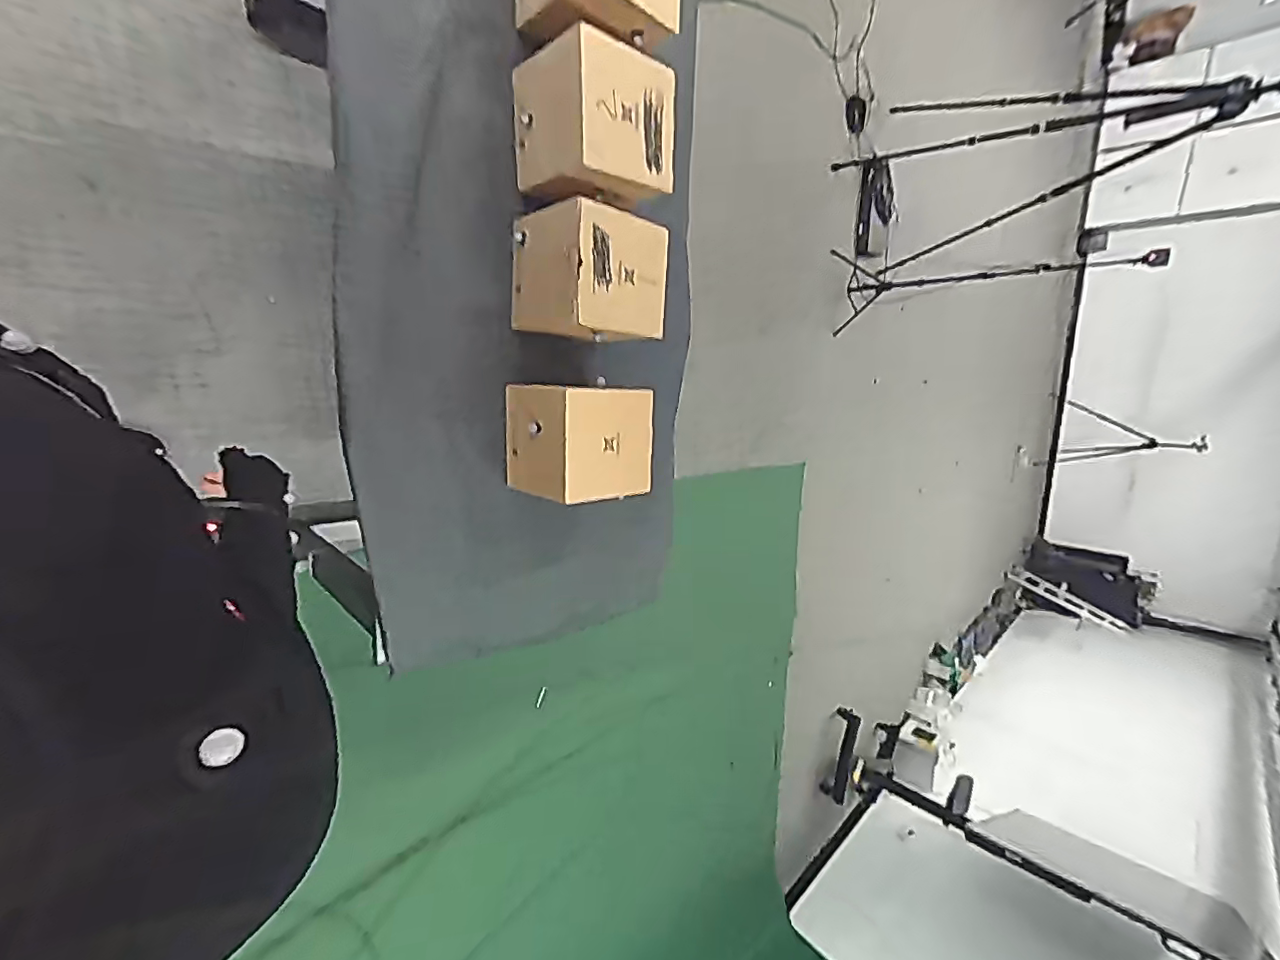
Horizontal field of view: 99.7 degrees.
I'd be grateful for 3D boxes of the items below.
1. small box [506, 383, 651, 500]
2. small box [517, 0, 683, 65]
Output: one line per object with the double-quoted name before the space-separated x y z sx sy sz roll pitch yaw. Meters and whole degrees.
"small box" -0.103 -0.070 0.875 0.179 0.176 0.168 -8 105 -44
"small box" -0.053 -0.732 0.765 0.179 0.176 0.168 -8 105 -44
